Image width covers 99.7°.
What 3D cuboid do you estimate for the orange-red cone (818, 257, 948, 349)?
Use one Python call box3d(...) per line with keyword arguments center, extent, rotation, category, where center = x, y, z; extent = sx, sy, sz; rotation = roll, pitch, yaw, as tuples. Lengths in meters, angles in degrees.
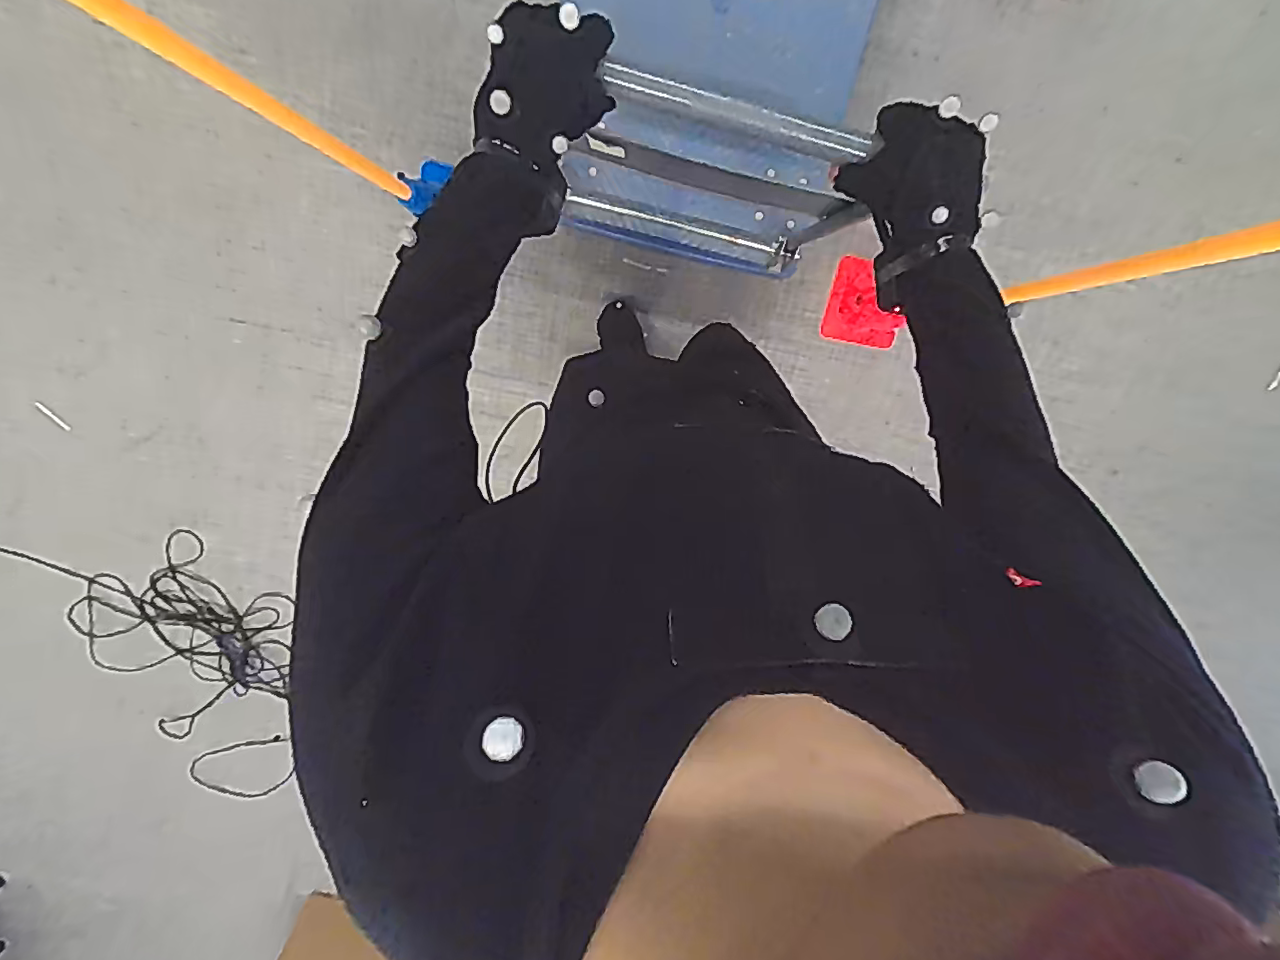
box3d(center=(0.572, -0.393, 1.212), extent=(0.199, 0.360, 0.198), rotation=(12, 108, -5), category="orange-red cone")
